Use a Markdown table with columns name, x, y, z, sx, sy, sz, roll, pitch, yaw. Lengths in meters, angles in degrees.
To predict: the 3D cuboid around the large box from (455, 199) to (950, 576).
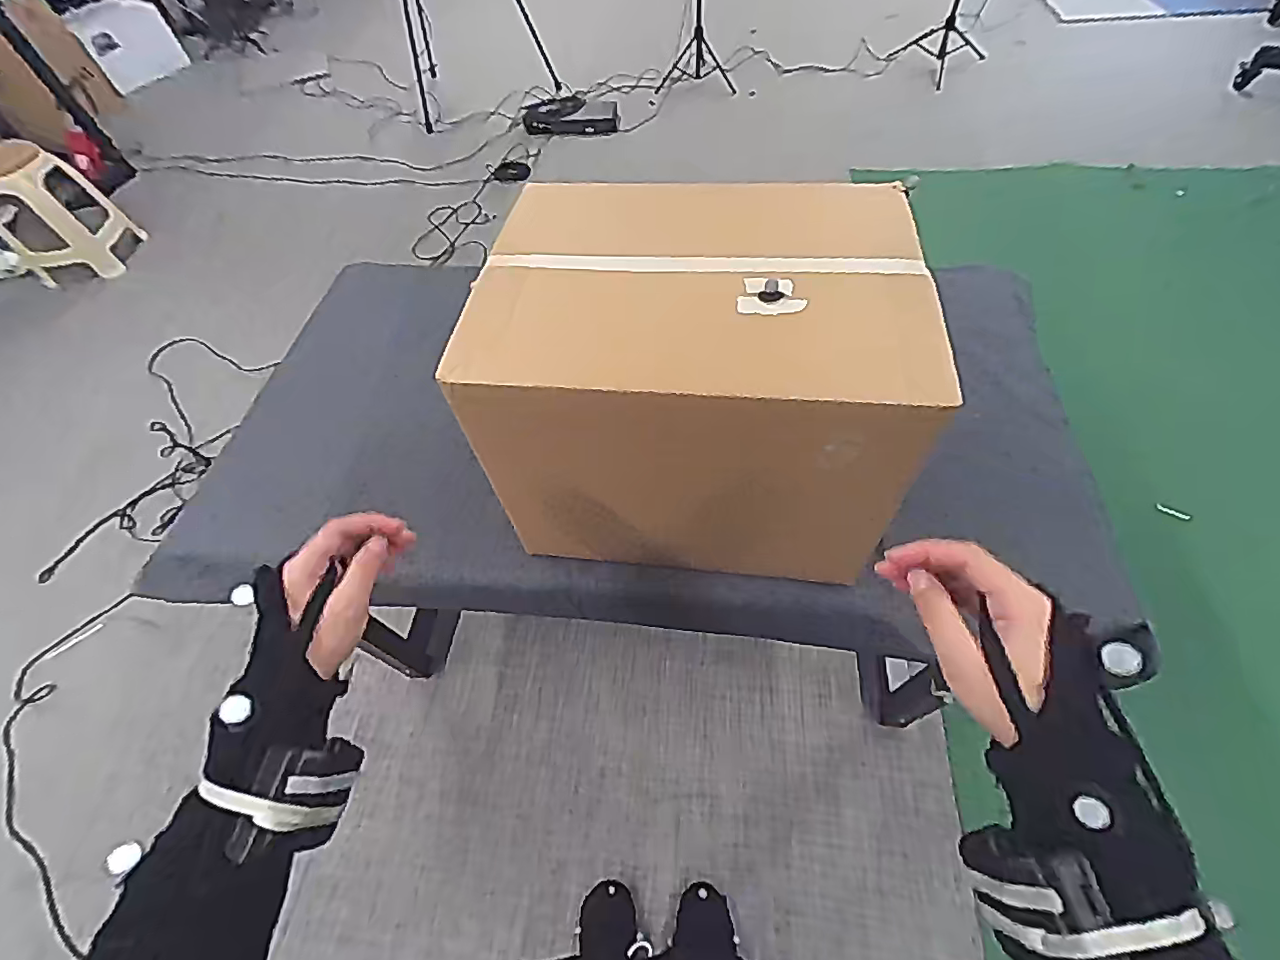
| name | x | y | z | sx | sy | sz | roll | pitch | yaw |
| --- | --- | --- | --- | --- | --- | --- | --- | --- | --- |
| large box | 0.064 | -0.102 | 0.634 | 0.408 | 0.320 | 0.320 | 4 | 55 | 7 |
